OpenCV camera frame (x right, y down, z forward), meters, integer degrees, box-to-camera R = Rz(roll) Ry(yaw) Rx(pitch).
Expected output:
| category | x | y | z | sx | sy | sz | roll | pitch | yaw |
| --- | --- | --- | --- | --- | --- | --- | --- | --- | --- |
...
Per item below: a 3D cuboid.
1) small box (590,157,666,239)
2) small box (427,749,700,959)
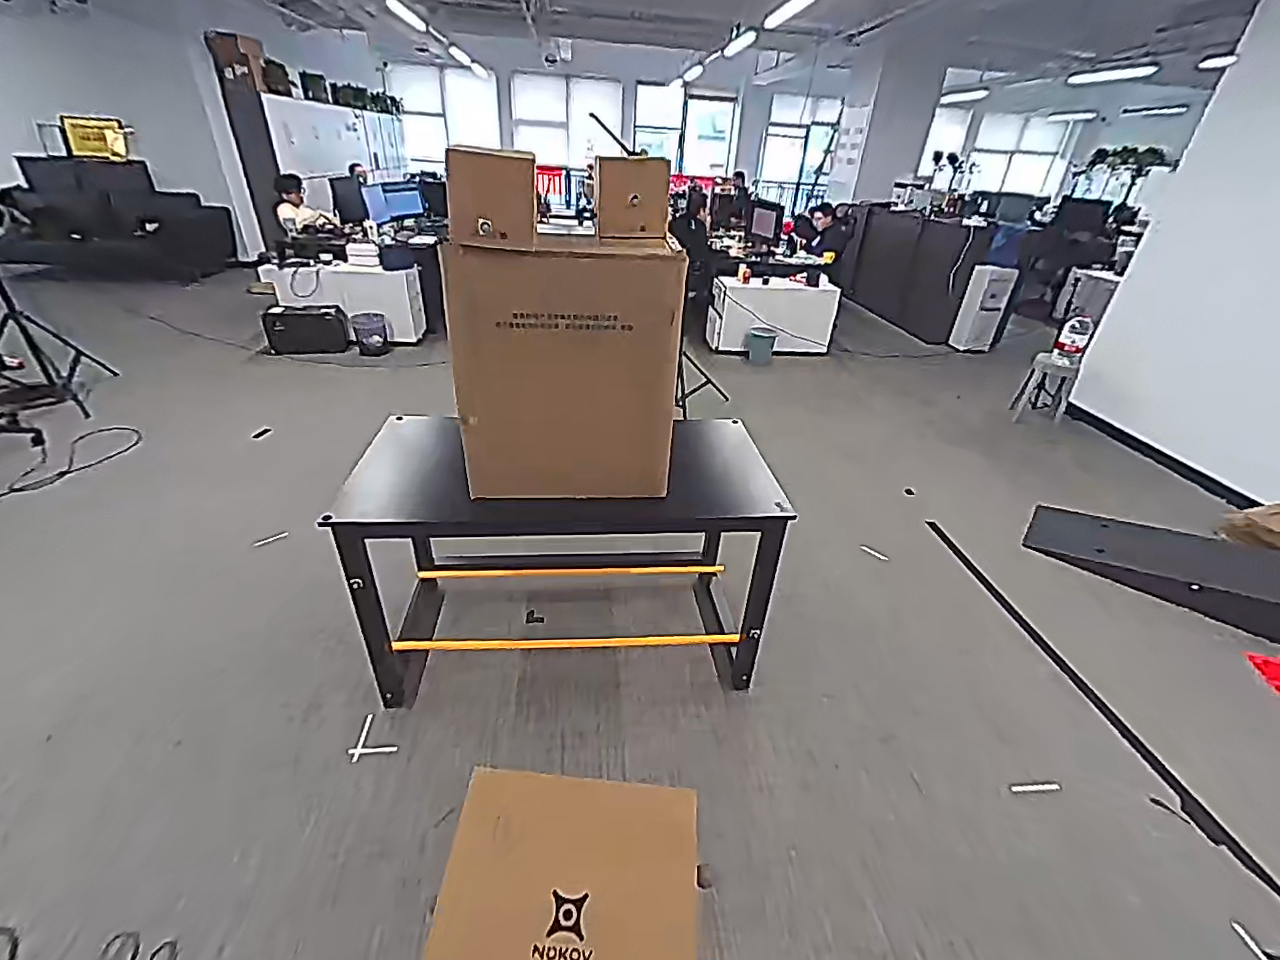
| category | x | y | z | sx | sy | sz | roll | pitch | yaw |
| --- | --- | --- | --- | --- | --- | --- | --- | --- | --- |
| small box | -0.032 | -0.688 | 1.316 | 0.168 | 0.176 | 0.179 | -3 | 31 | -8 |
| small box | -0.047 | 0.327 | 0.401 | 0.168 | 0.176 | 0.179 | 5 | 45 | 2 |
